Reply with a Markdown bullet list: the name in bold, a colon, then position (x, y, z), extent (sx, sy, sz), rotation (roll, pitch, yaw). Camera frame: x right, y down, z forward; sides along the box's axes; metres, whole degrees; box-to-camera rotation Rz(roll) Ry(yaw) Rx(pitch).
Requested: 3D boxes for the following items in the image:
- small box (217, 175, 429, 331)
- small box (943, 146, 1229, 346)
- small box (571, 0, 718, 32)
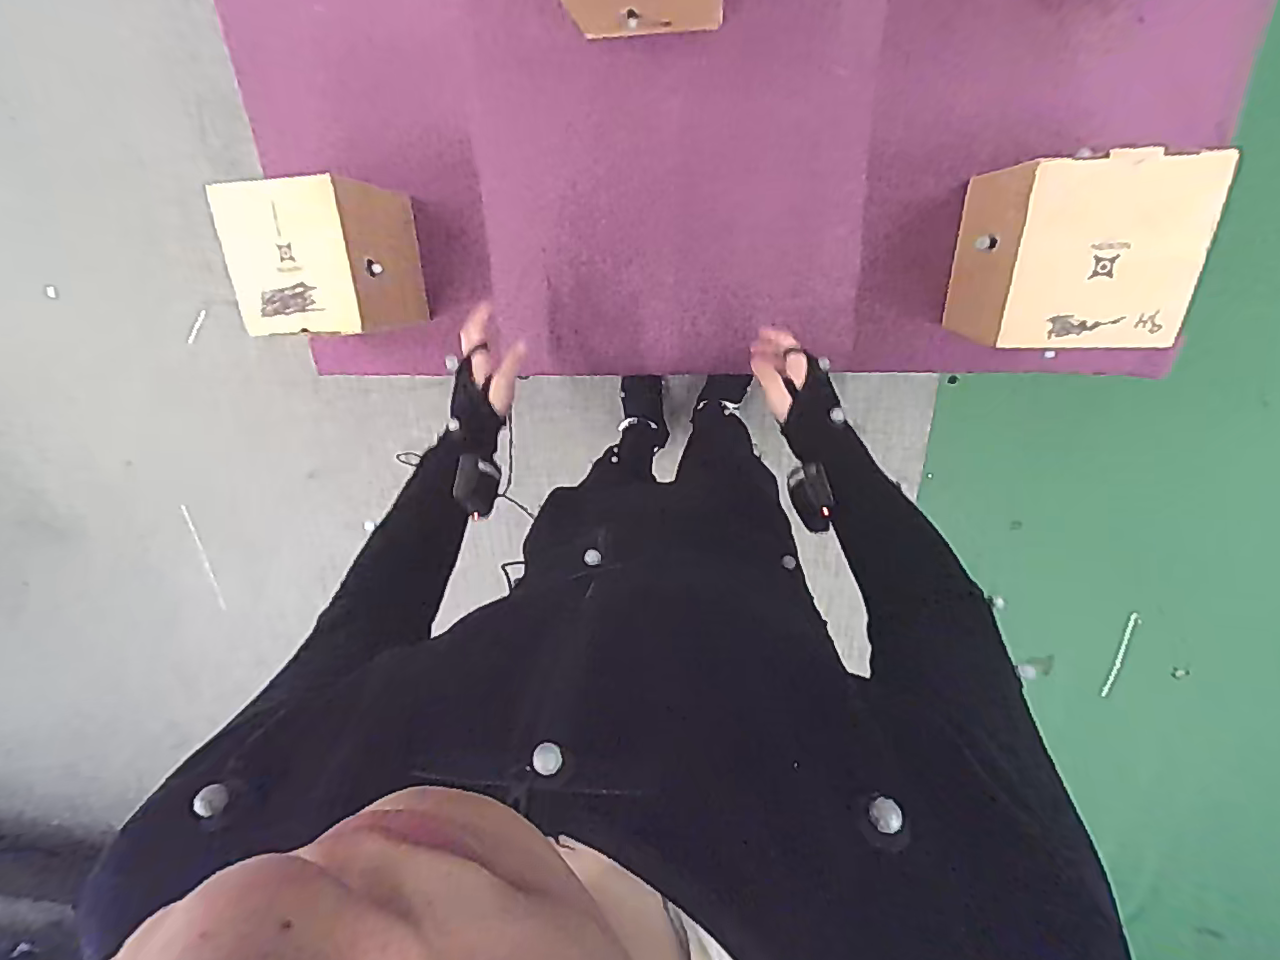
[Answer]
- **small box**: position (-0.413, -0.305, 0.741), extent (0.168, 0.176, 0.179), rotation (2, 111, 10)
- **small box**: position (0.458, -0.250, 0.596), extent (0.168, 0.176, 0.179), rotation (3, 114, 11)
- **small box**: position (-0.002, -0.589, 0.543), extent (0.168, 0.176, 0.179), rotation (3, 116, 9)
